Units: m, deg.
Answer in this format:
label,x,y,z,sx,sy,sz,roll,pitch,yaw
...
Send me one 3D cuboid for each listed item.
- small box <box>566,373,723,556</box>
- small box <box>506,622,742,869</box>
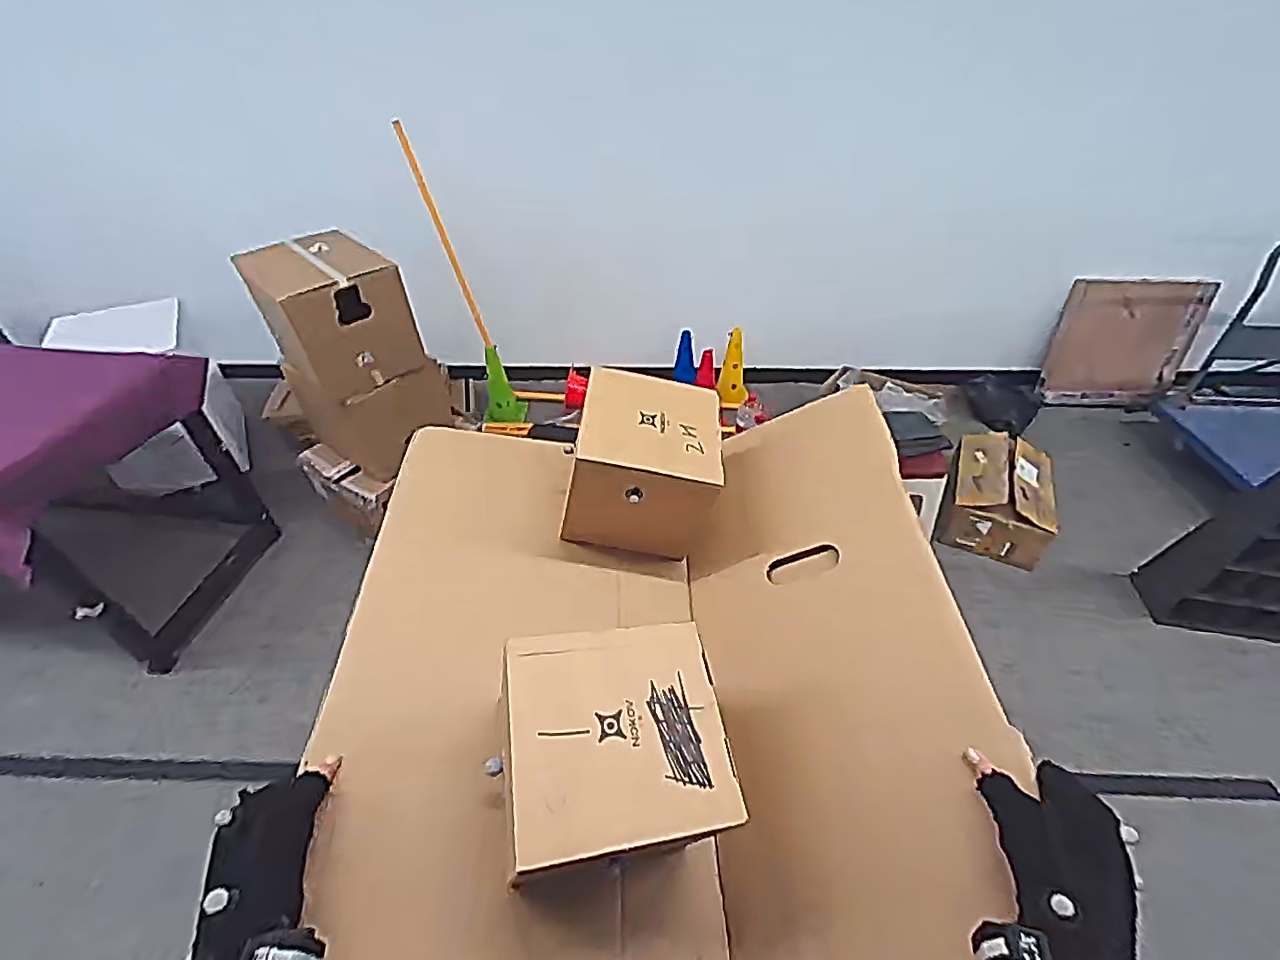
label,x,y,z,sx,sy,sz,roll,pitch,yaw
small box,0.002,-0.015,0.737,0.179,0.176,0.168,12,50,-8
small box,-0.032,0.248,0.509,0.179,0.176,0.168,0,52,-16
